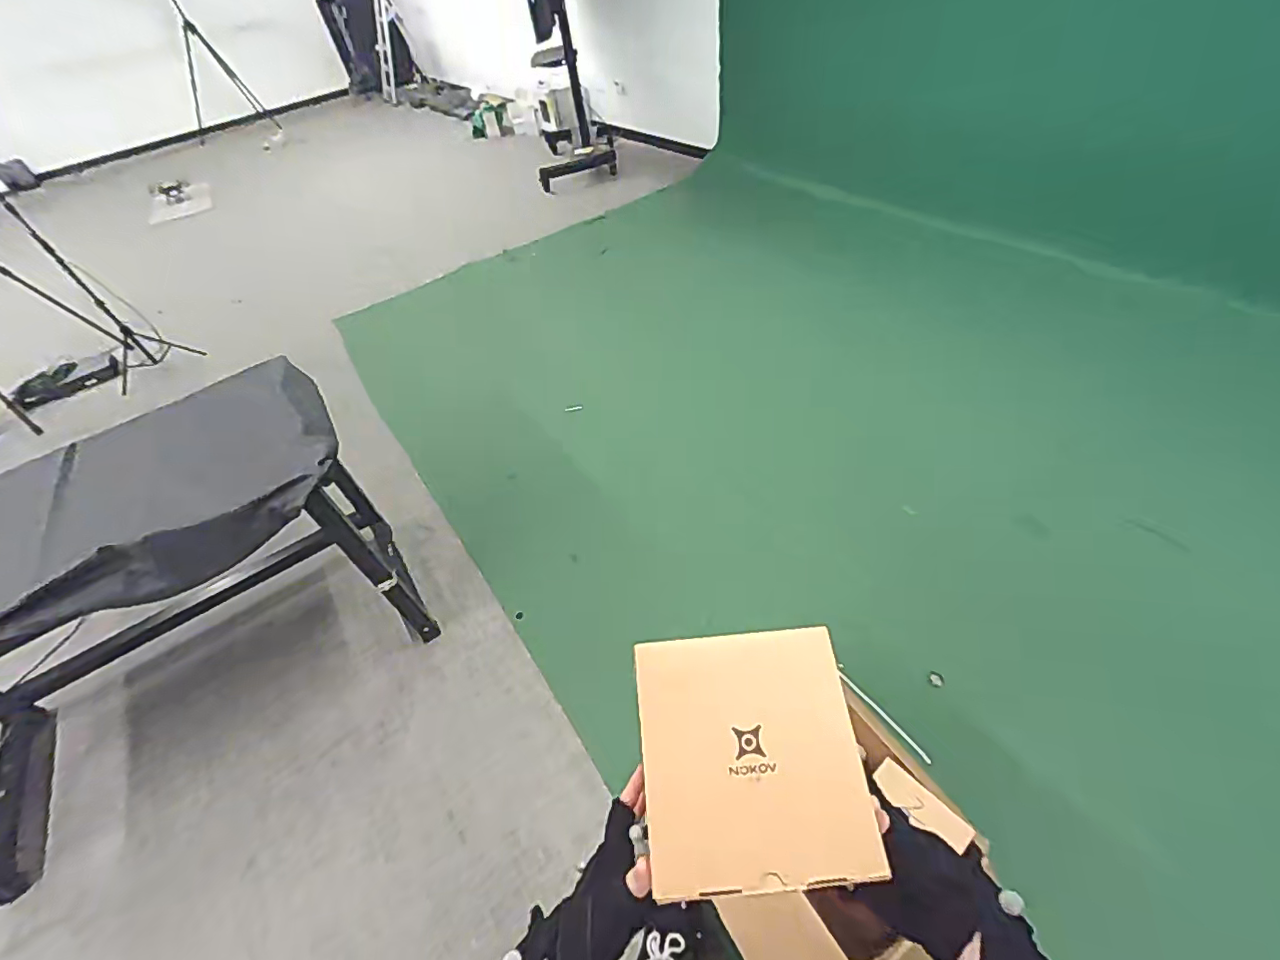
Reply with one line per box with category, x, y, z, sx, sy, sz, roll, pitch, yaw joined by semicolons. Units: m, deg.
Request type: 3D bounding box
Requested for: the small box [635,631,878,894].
small box;0.081;0.249;0.489;0.168;0.176;0.179;-4;61;-2
